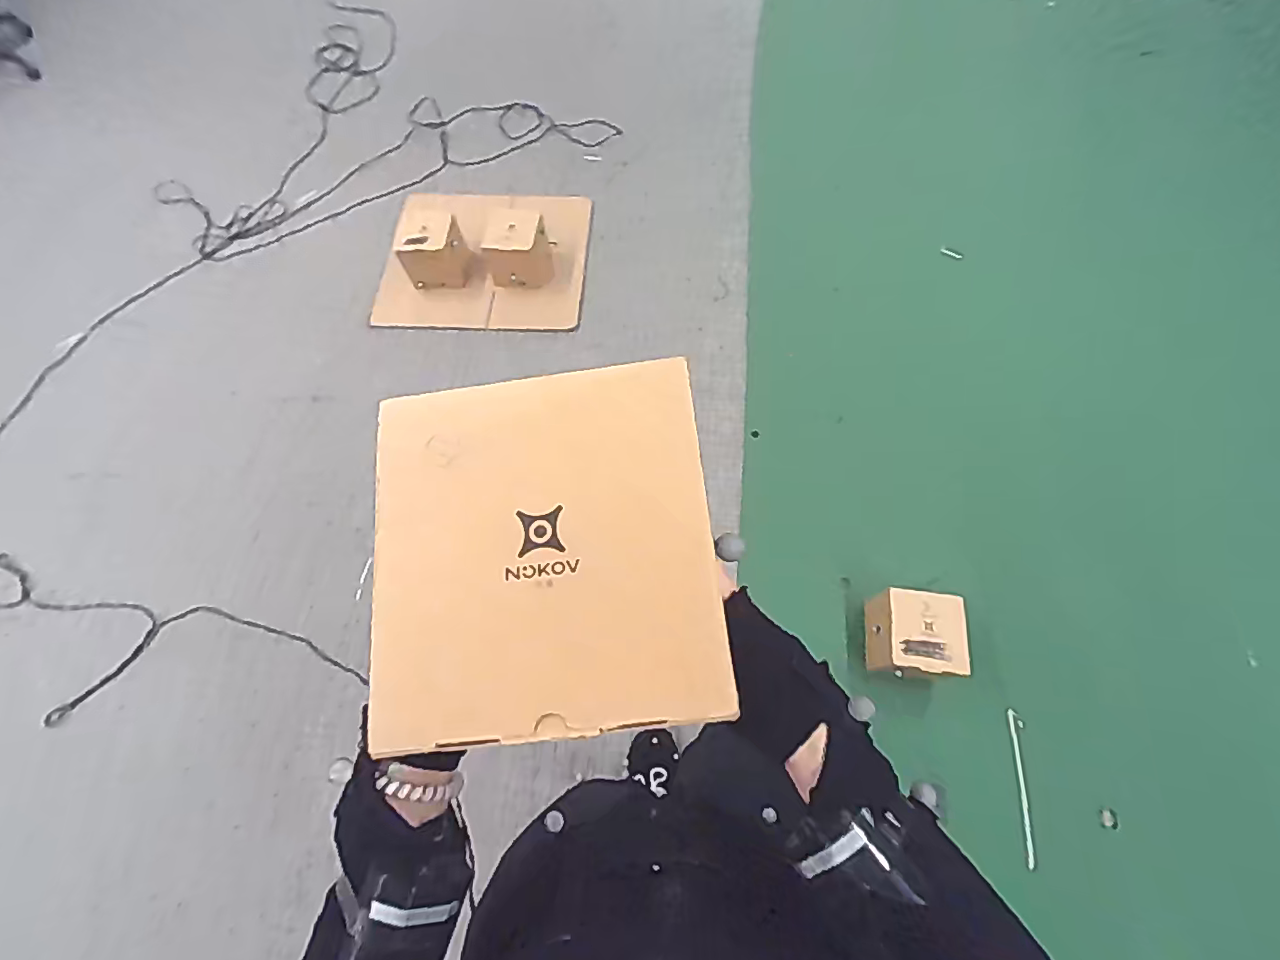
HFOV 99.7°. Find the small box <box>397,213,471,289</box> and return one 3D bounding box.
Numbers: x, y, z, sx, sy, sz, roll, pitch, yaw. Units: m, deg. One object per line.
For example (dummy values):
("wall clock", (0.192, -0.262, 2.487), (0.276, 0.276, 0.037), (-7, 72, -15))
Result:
("small box", (-0.674, -0.753, 1.794), (0.168, 0.176, 0.179), (1, 66, 2))

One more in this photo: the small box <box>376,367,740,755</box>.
("small box", (-0.040, 0.054, 0.339), (0.168, 0.176, 0.179), (-8, 73, 3))

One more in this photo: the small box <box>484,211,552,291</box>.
("small box", (-0.394, -0.756, 1.789), (0.168, 0.176, 0.179), (6, 67, 5))
